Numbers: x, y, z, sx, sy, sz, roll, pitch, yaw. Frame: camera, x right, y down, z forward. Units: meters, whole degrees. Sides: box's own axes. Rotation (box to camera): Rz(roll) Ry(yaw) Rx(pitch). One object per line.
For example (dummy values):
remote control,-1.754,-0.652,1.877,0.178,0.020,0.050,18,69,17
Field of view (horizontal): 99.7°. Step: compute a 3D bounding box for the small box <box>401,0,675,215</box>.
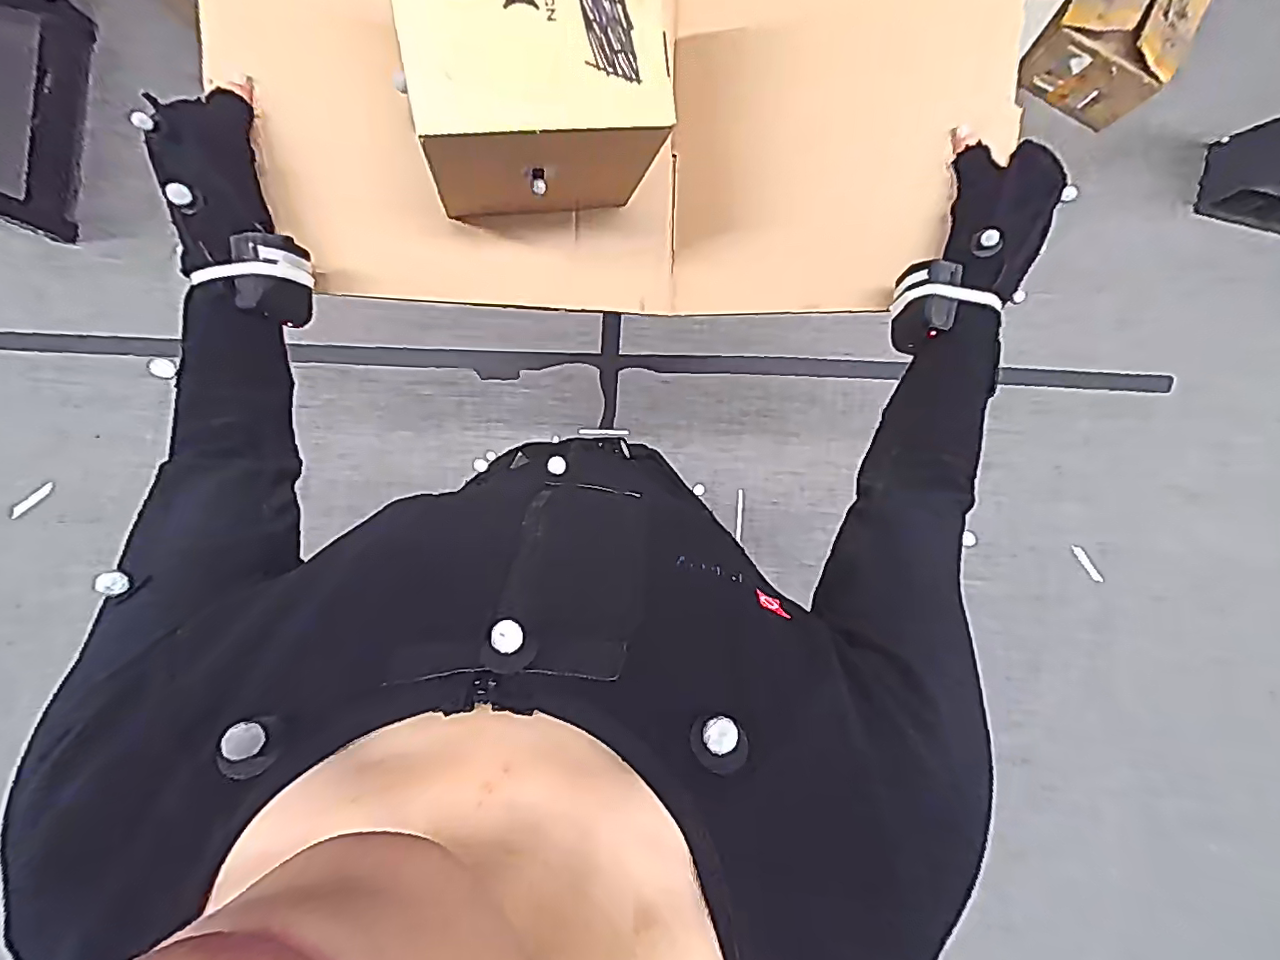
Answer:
small box,-0.085,-0.326,0.433,0.179,0.176,0.168,-9,101,-12
